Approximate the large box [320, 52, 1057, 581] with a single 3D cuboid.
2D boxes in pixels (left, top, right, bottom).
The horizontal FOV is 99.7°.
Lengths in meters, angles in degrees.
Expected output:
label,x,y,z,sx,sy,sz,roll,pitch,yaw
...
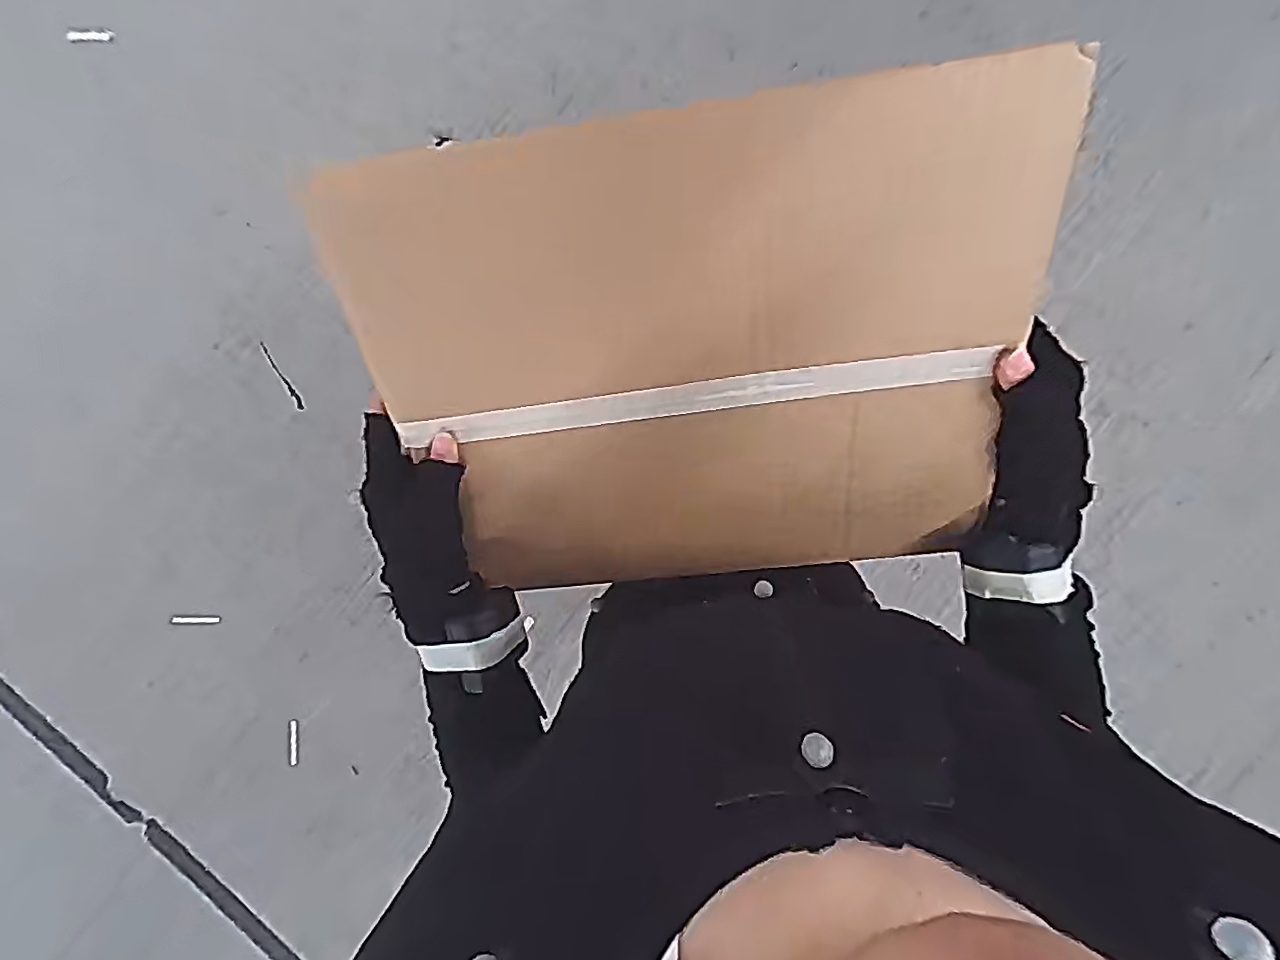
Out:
label,x,y,z,sx,sy,sz,roll,pitch,yaw
large box,0.034,-0.144,0.490,0.408,0.320,0.320,-7,125,5
